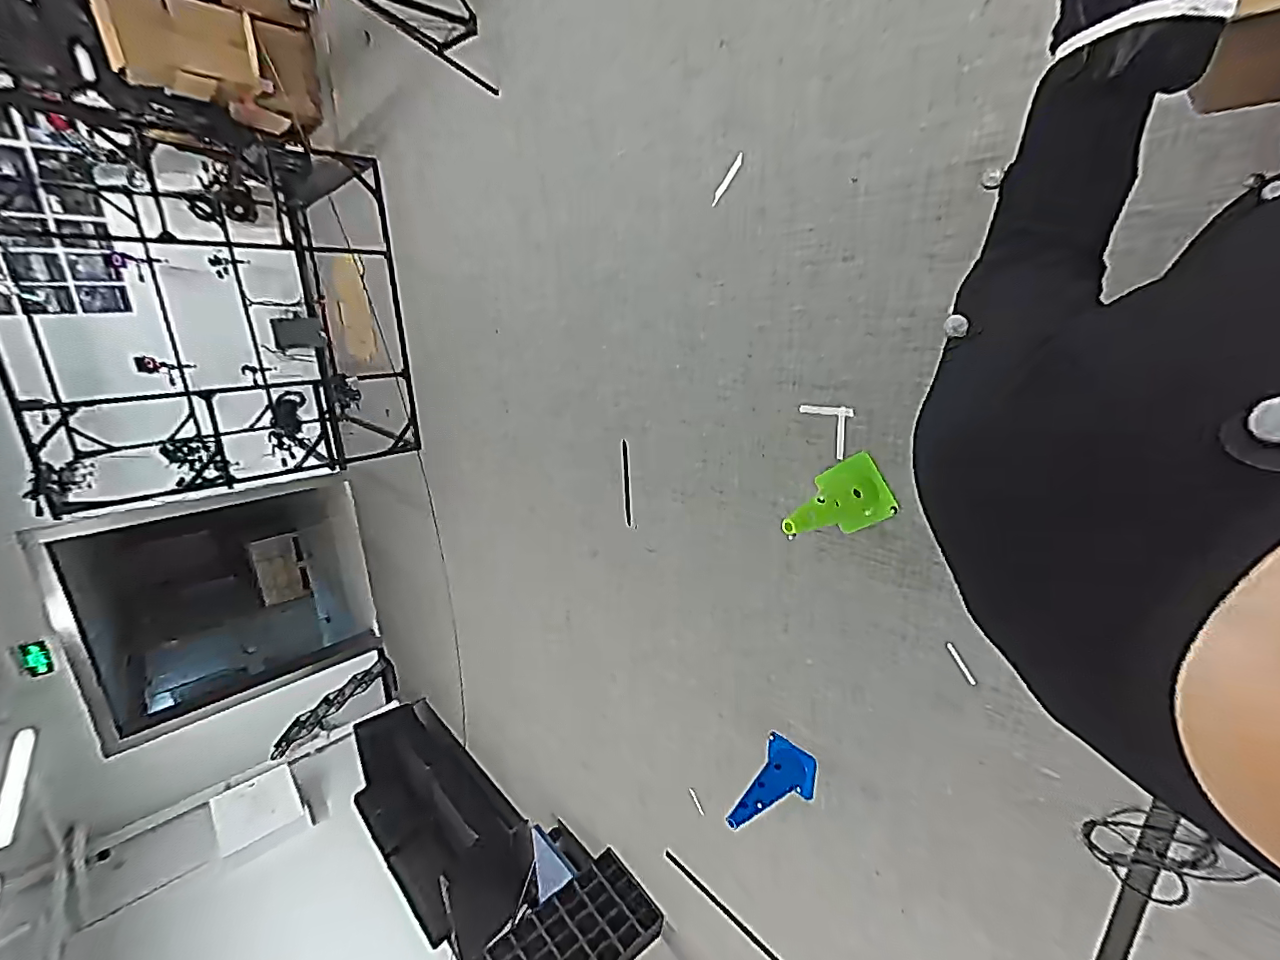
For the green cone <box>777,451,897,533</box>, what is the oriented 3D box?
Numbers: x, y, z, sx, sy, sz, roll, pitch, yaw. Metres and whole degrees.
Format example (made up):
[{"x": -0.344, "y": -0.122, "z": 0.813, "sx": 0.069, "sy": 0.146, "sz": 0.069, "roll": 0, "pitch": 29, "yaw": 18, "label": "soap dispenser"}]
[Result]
[{"x": 0.504, "y": 0.073, "z": 1.492, "sx": 0.202, "sy": 0.368, "sz": 0.200, "roll": -40, "pitch": 71, "yaw": 50, "label": "green cone"}]

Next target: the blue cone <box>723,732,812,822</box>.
[{"x": 0.442, "y": 1.108, "z": 1.947, "sx": 0.192, "sy": 0.380, "sz": 0.193, "roll": 22, "pitch": 118, "yaw": 45, "label": "blue cone"}]

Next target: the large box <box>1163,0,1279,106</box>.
[{"x": 0.583, "y": -0.445, "z": 0.272, "sx": 0.408, "sy": 0.320, "sz": 0.320, "roll": 18, "pitch": 118, "yaw": 43, "label": "large box"}]
